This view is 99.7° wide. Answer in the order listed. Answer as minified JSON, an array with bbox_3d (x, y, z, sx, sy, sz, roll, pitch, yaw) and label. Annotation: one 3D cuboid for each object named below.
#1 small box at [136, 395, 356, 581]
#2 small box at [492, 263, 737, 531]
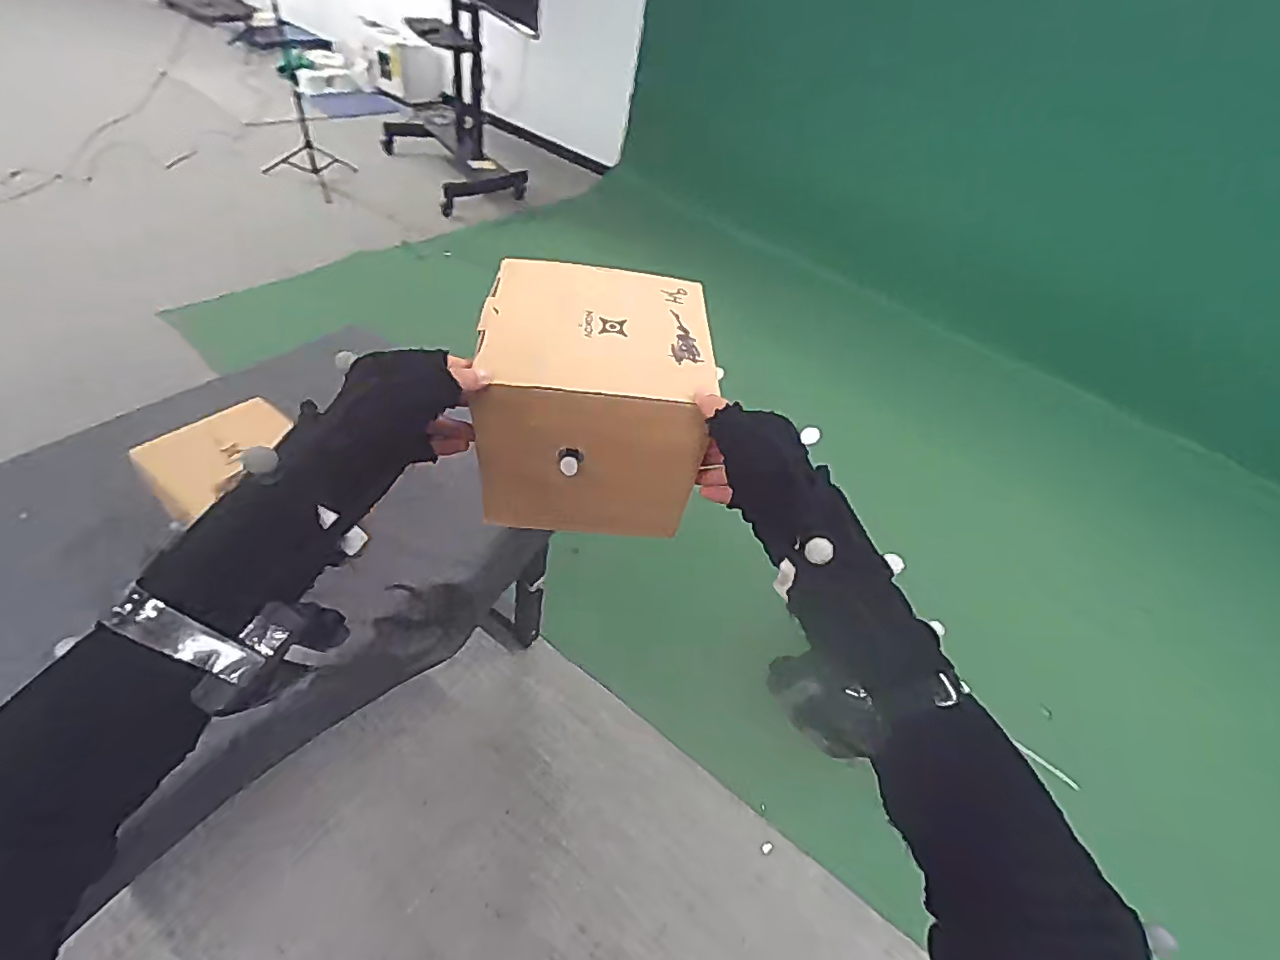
[{"bbox_3d":[-0.538,0.017,0.766,0.179,0.176,0.168,33,48,17],"label":"small box"},{"bbox_3d":[-0.026,-0.069,0.488,0.179,0.176,0.168,5,50,-6],"label":"small box"}]
